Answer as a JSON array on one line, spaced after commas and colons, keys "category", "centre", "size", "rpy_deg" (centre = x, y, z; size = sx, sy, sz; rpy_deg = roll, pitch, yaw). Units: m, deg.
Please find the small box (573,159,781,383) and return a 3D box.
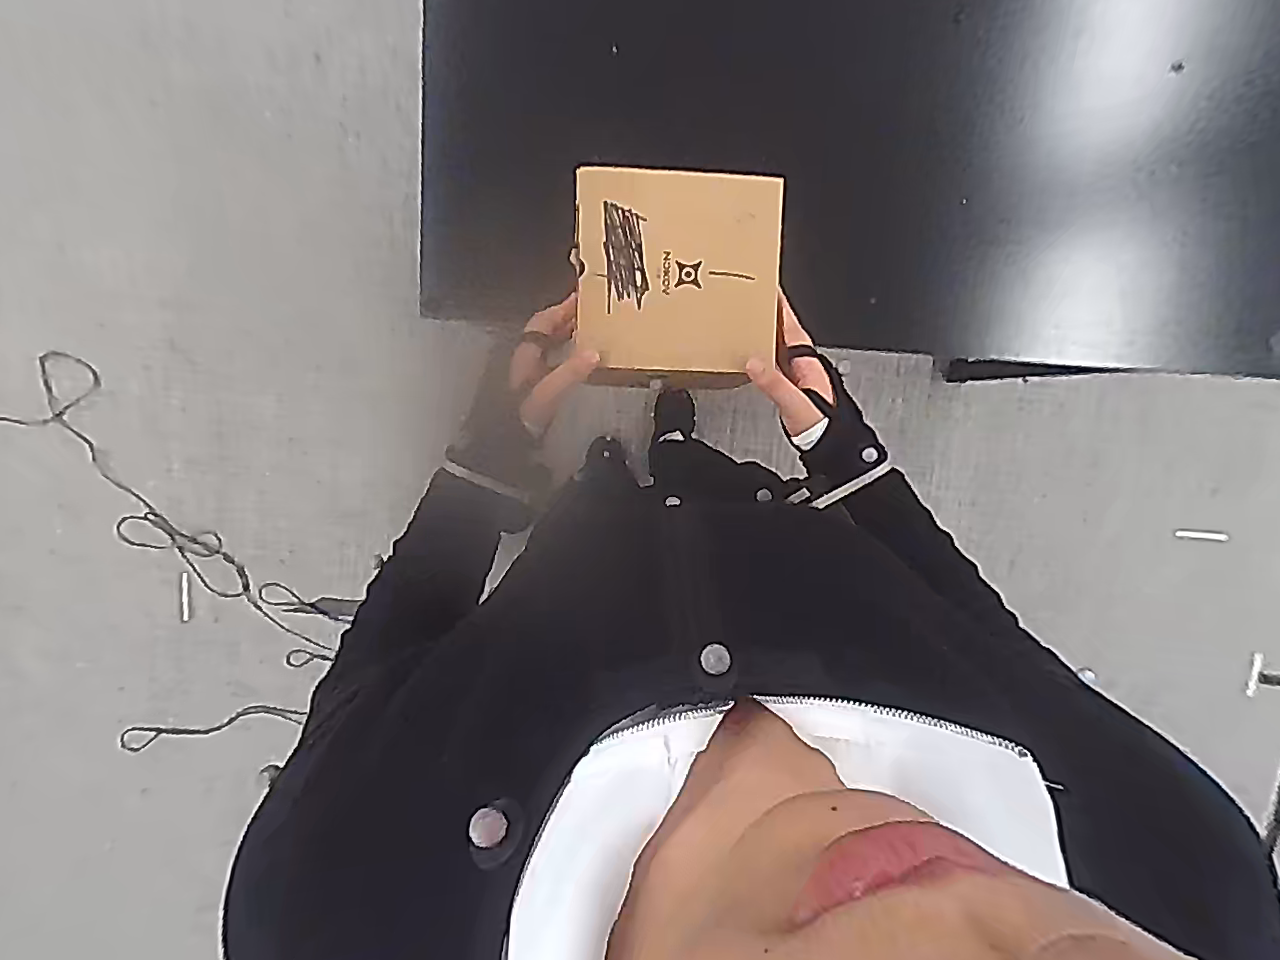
[{"category": "small box", "centre": [0.028, -0.190, 0.540], "size": [0.179, 0.176, 0.168], "rpy_deg": [1, 94, -4]}]
